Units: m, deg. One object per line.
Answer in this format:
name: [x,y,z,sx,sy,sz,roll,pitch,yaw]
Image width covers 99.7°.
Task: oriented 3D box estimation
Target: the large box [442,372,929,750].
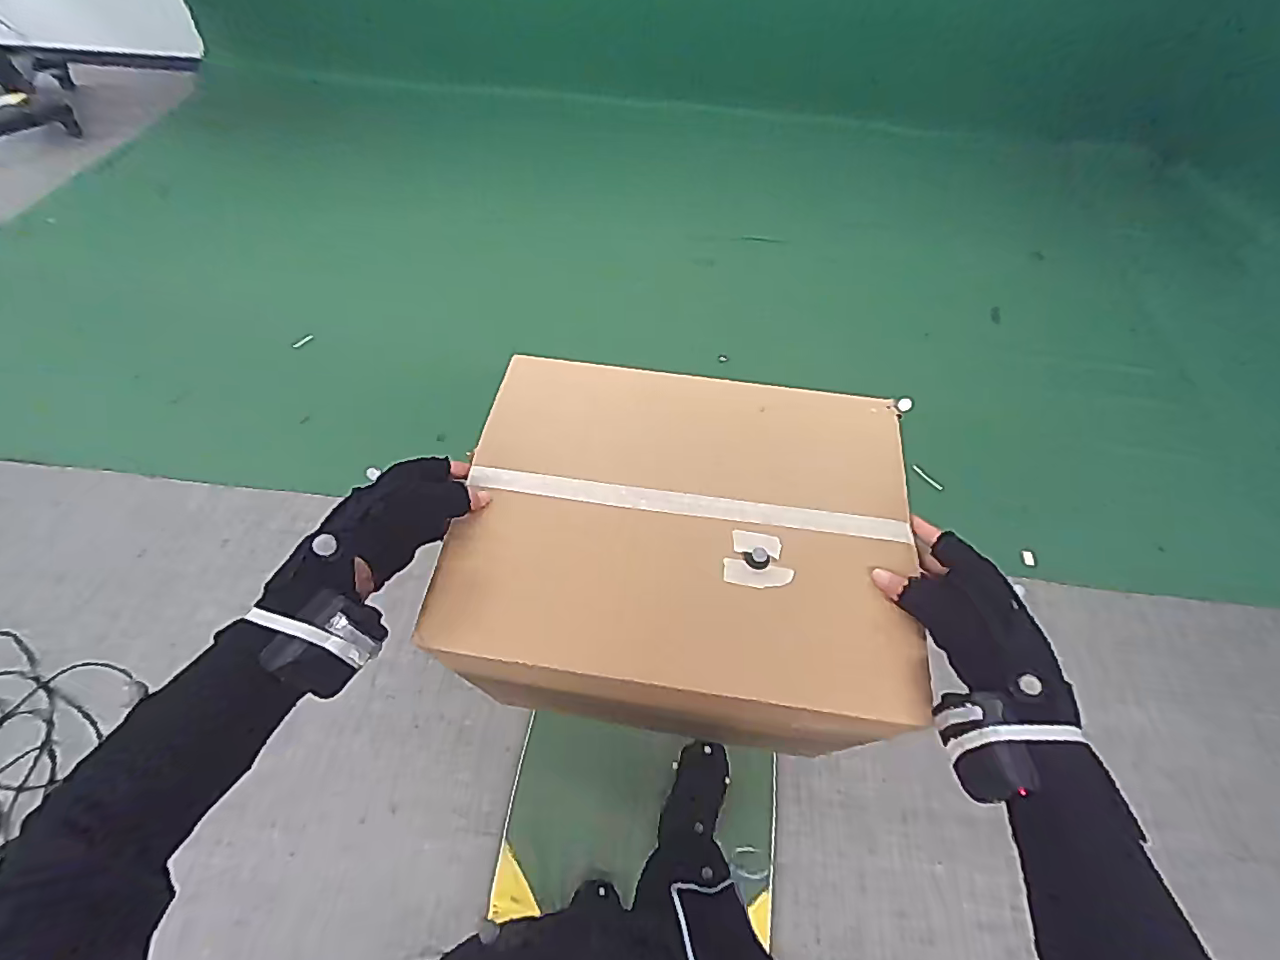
large box: [0.046,0.108,0.635,0.408,0.320,0.320,8,59,3]
